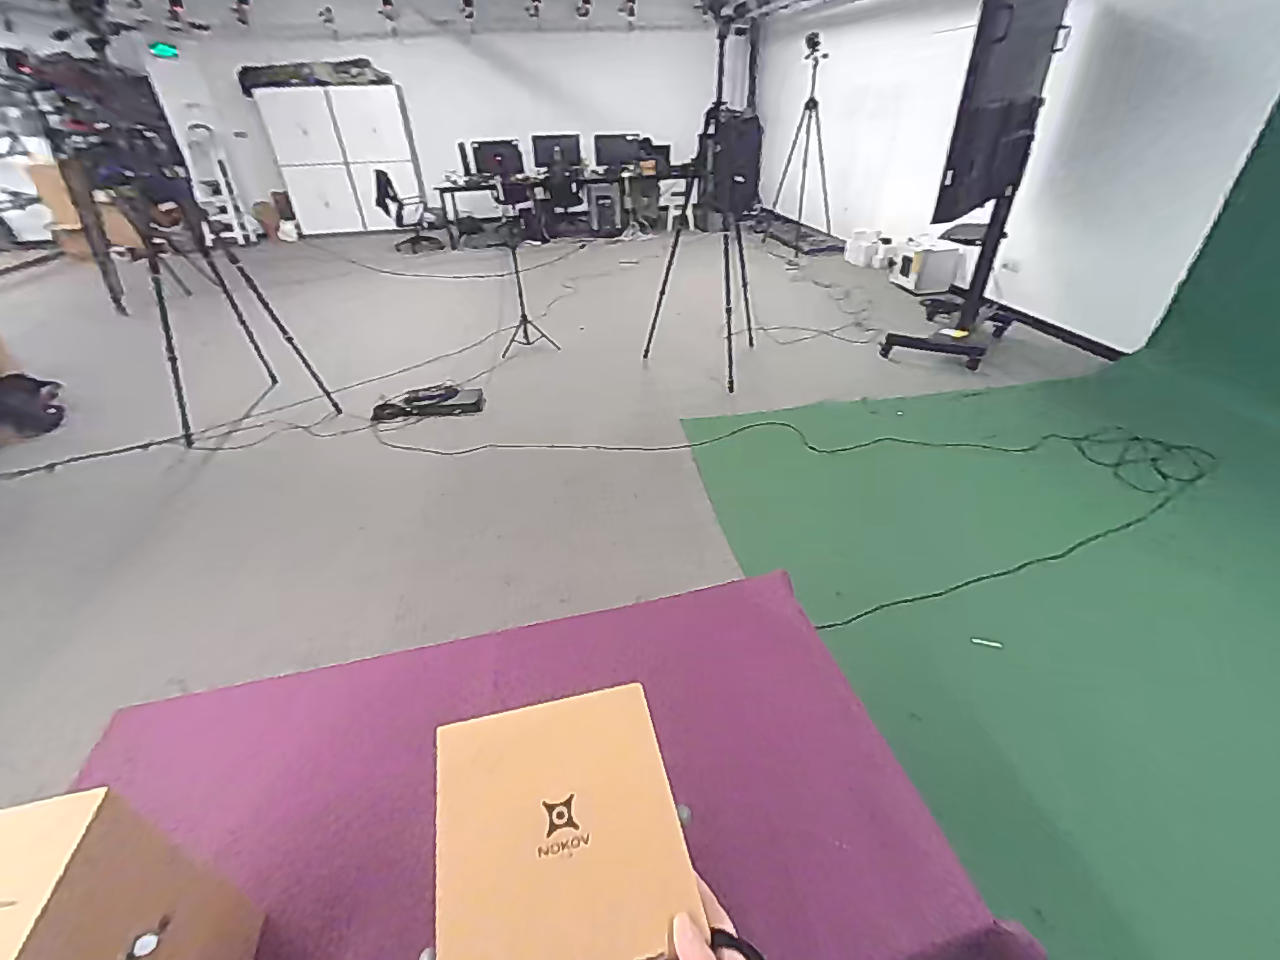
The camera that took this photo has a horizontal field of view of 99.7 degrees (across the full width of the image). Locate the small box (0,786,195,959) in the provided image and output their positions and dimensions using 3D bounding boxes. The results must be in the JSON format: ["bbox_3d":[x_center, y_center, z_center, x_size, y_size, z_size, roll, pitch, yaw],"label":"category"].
[{"bbox_3d":[-0.536,0.398,0.452,0.179,0.176,0.168,-9,35,-10],"label":"small box"}]

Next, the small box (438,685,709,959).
[{"bbox_3d":[-0.063,0.296,0.431,0.168,0.176,0.179,-7,47,-14],"label":"small box"}]

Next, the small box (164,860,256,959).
[{"bbox_3d":[-0.530,0.533,0.545,0.168,0.176,0.179,-8,35,-10],"label":"small box"}]
